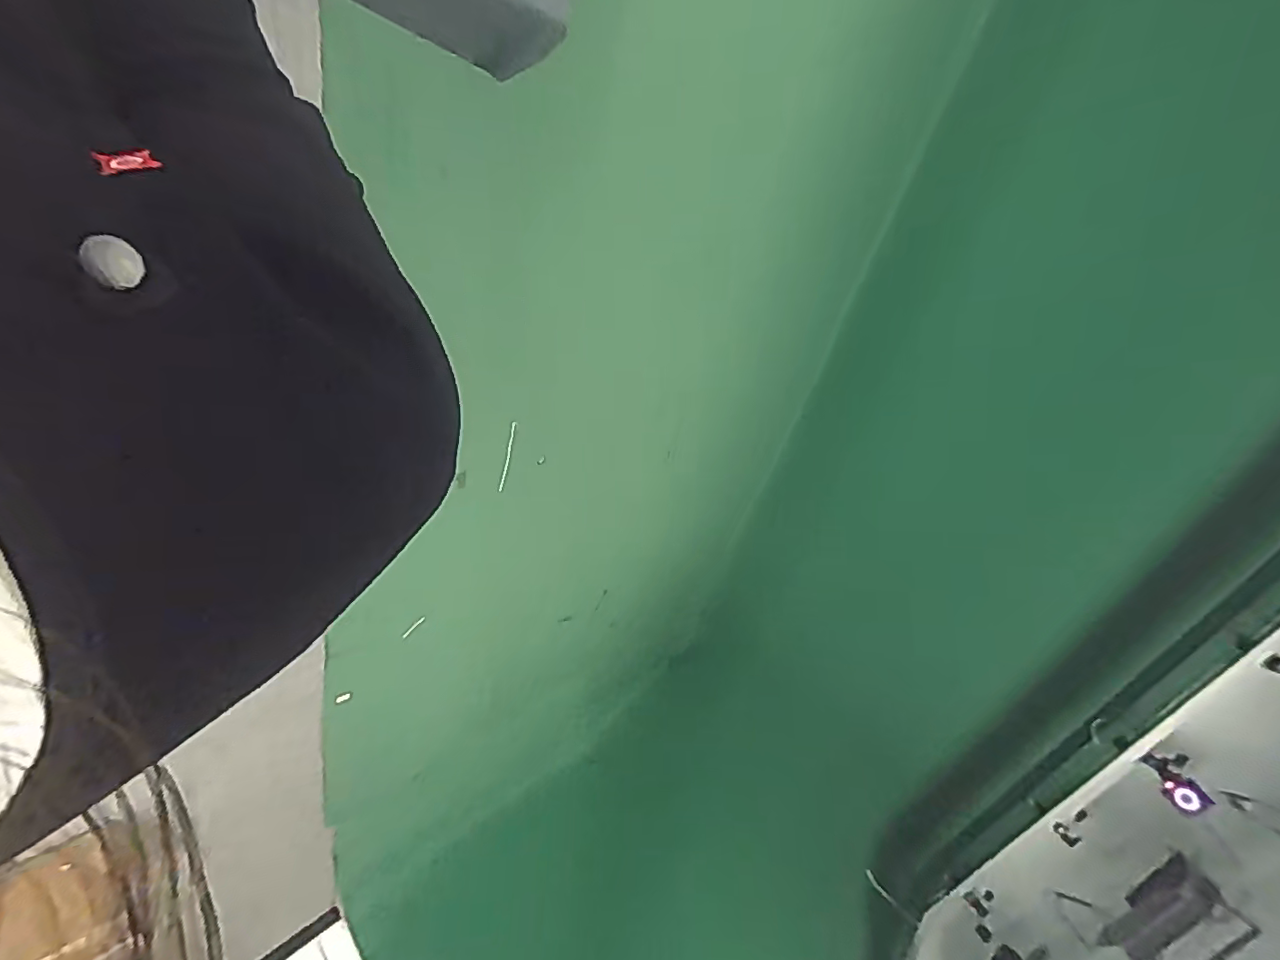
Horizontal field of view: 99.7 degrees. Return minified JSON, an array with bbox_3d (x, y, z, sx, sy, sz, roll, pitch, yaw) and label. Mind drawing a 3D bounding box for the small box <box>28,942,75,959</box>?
[{"bbox_3d":[-1.597,1.379,1.422,0.168,0.176,0.179,-14,132,-48],"label":"small box"}]
